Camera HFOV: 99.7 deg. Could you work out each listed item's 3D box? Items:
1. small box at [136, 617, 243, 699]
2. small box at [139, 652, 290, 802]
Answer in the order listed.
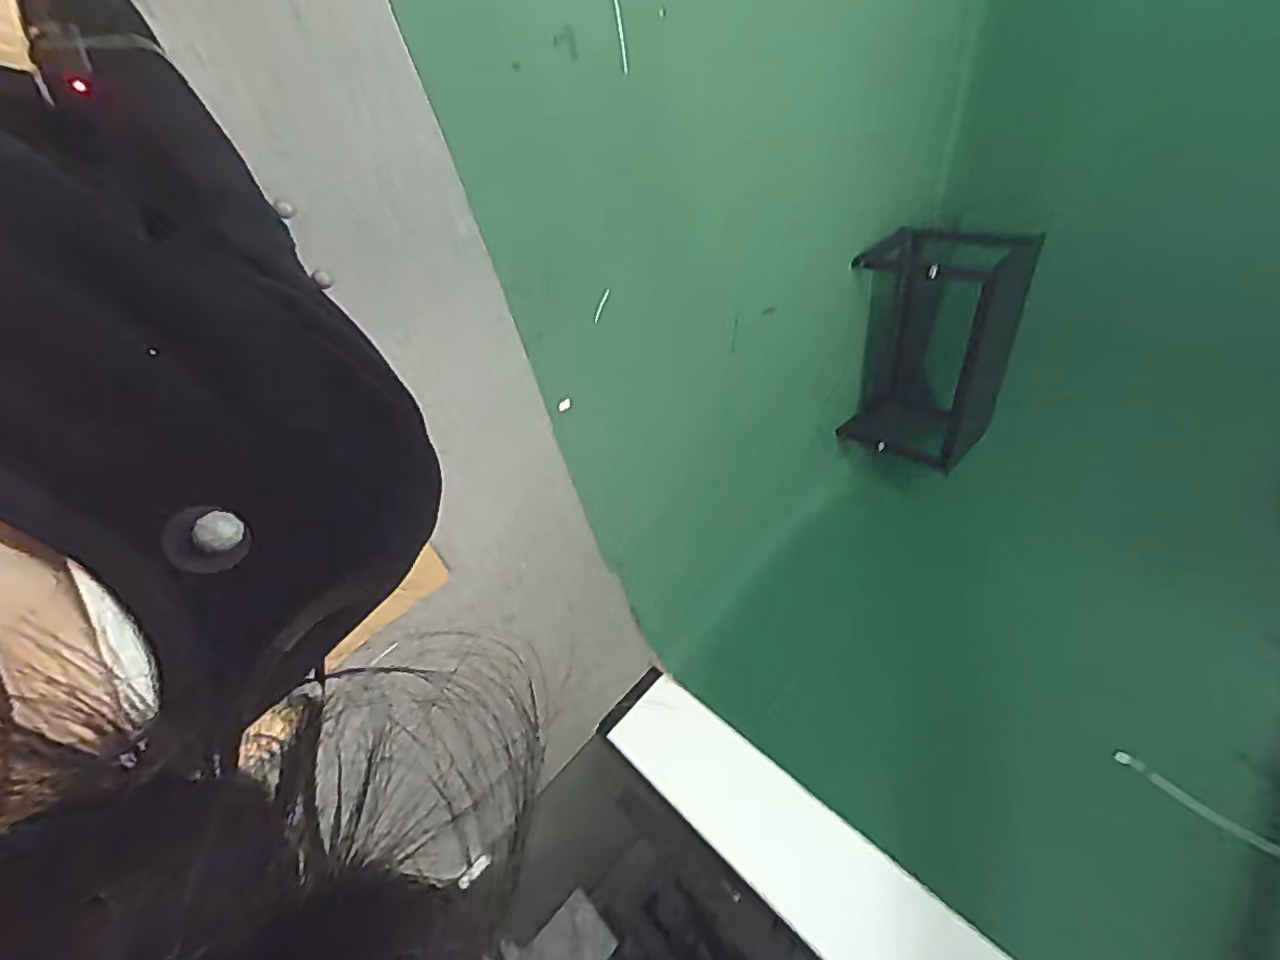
[{"bbox_3d":[-0.967,0.436,1.186,0.168,0.176,0.179,-21,126,-39],"label":"small box"},{"bbox_3d":[-0.849,0.482,1.082,0.179,0.176,0.168,-29,132,-35],"label":"small box"}]
